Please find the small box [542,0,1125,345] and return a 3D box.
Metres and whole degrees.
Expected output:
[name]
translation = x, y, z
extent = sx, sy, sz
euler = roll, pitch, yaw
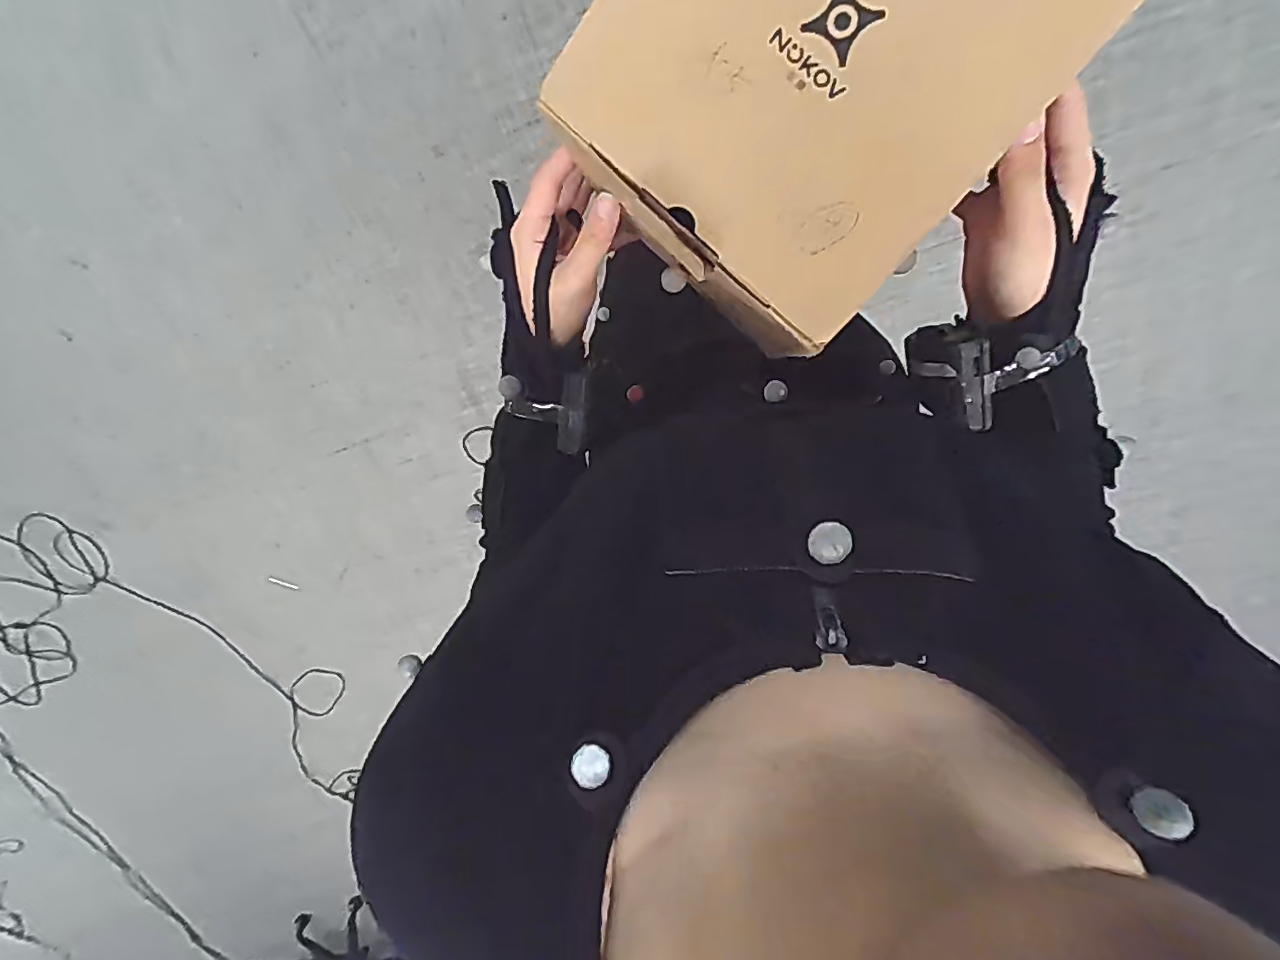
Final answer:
[small box]
translation = 0.082, -0.191, 0.298
extent = 0.168, 0.176, 0.179
euler = 41, 105, -2
